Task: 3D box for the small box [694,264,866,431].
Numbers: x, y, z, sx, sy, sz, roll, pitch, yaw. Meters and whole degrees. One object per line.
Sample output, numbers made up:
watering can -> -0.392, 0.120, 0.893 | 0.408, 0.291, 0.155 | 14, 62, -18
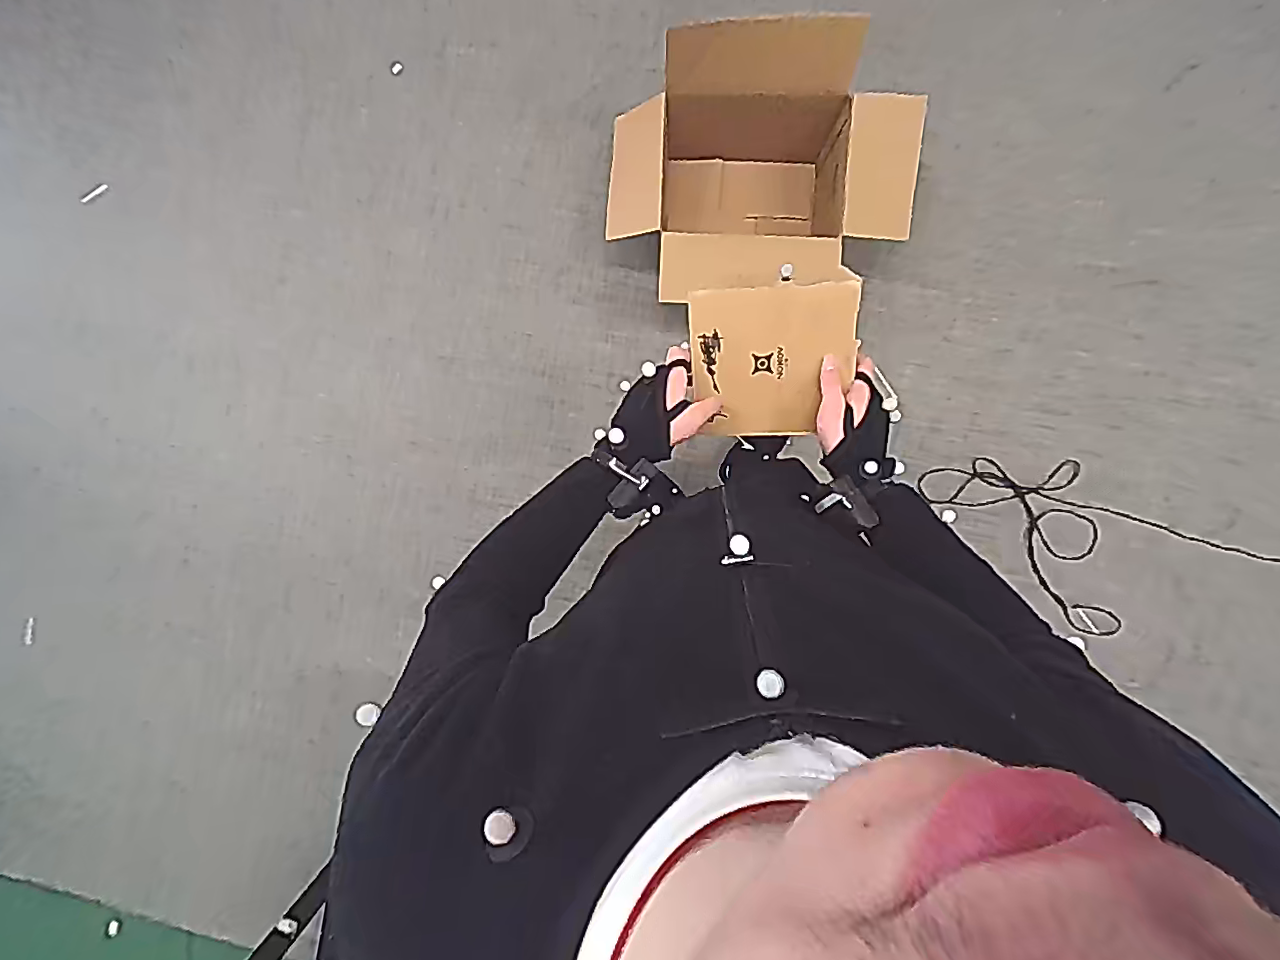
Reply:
small box -> 0.164, -0.165, 0.660 | 0.179, 0.176, 0.168 | 0, 115, 14
